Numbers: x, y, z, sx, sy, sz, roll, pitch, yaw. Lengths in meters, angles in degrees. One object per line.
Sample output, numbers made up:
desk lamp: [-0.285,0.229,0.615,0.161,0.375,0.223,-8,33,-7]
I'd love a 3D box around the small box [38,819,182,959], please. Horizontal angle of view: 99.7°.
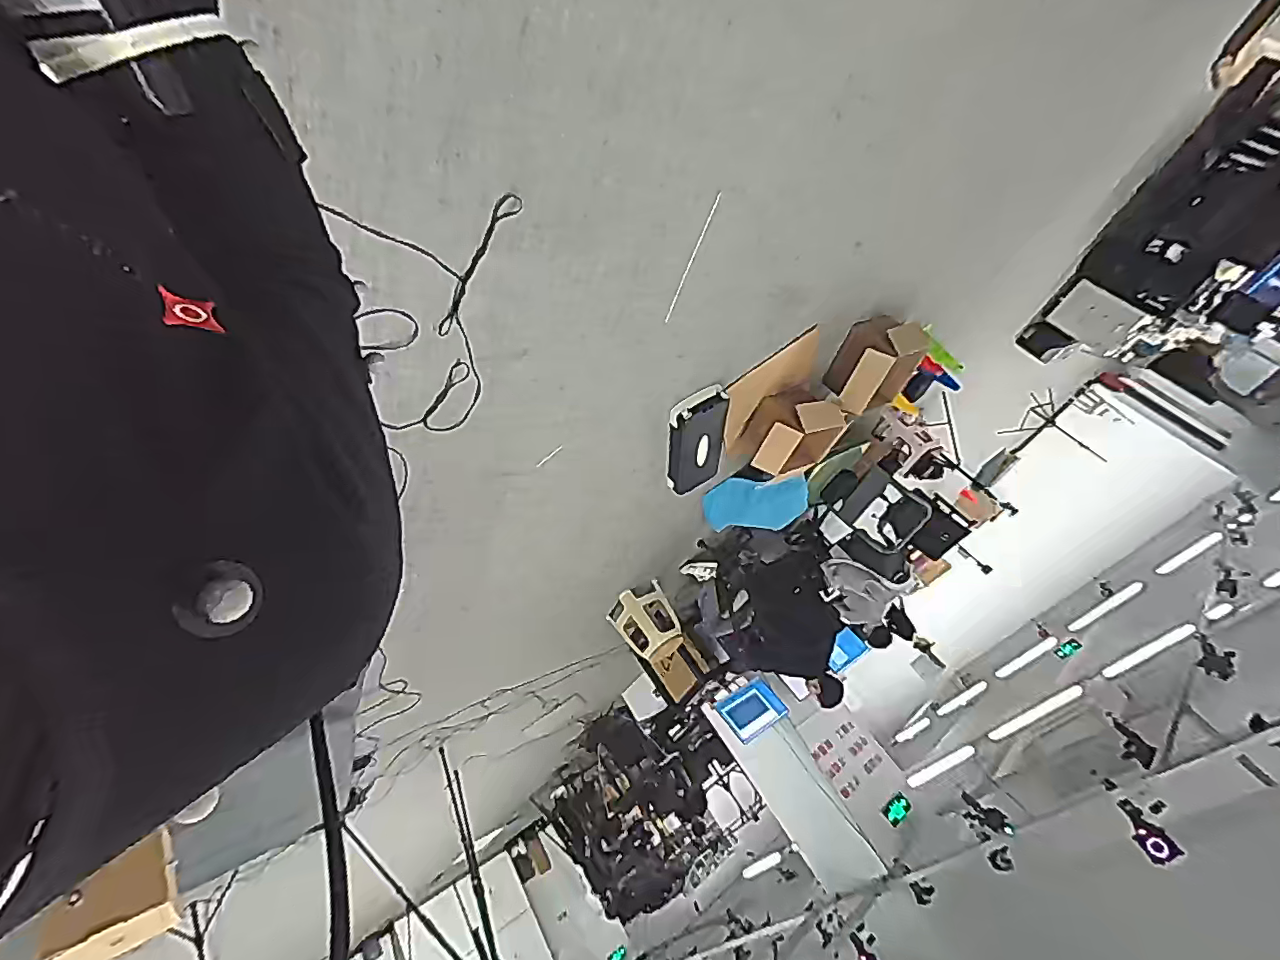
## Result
small box: [-0.987,0.776,1.012,0.168,0.176,0.179,-11,143,-40]
